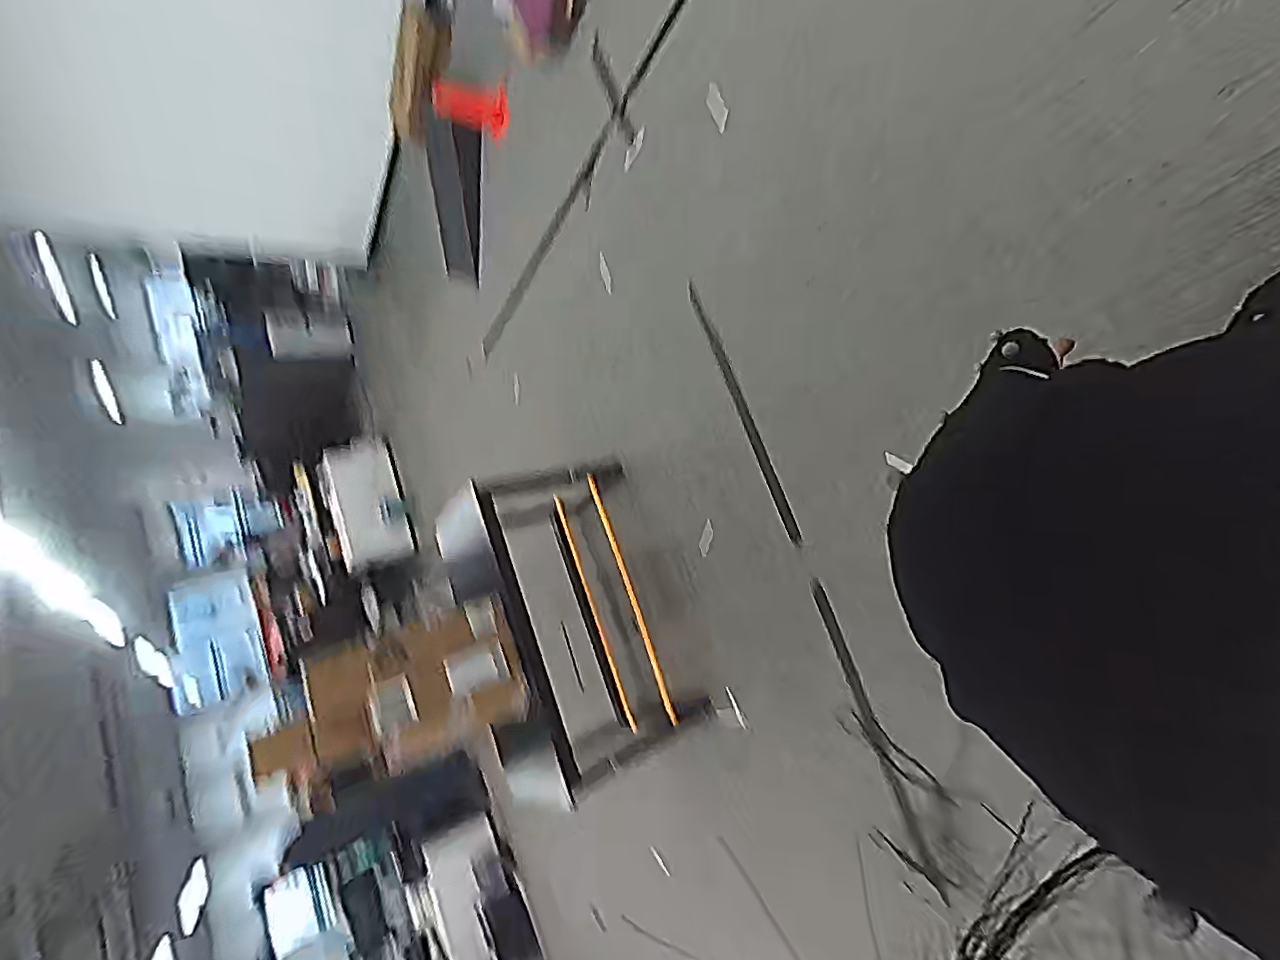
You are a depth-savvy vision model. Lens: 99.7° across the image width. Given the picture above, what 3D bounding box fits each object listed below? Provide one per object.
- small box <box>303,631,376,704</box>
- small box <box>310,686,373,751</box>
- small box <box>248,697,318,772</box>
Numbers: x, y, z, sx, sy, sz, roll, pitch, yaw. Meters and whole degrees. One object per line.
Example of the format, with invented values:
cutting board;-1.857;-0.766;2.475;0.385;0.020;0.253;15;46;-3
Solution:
small box;-0.976;0.601;1.752;0.168;0.176;0.179;-38;70;50
small box;-1.037;0.820;1.878;0.179;0.176;0.168;-42;65;49
small box;-1.167;0.835;1.777;0.179;0.176;0.168;-45;63;49
